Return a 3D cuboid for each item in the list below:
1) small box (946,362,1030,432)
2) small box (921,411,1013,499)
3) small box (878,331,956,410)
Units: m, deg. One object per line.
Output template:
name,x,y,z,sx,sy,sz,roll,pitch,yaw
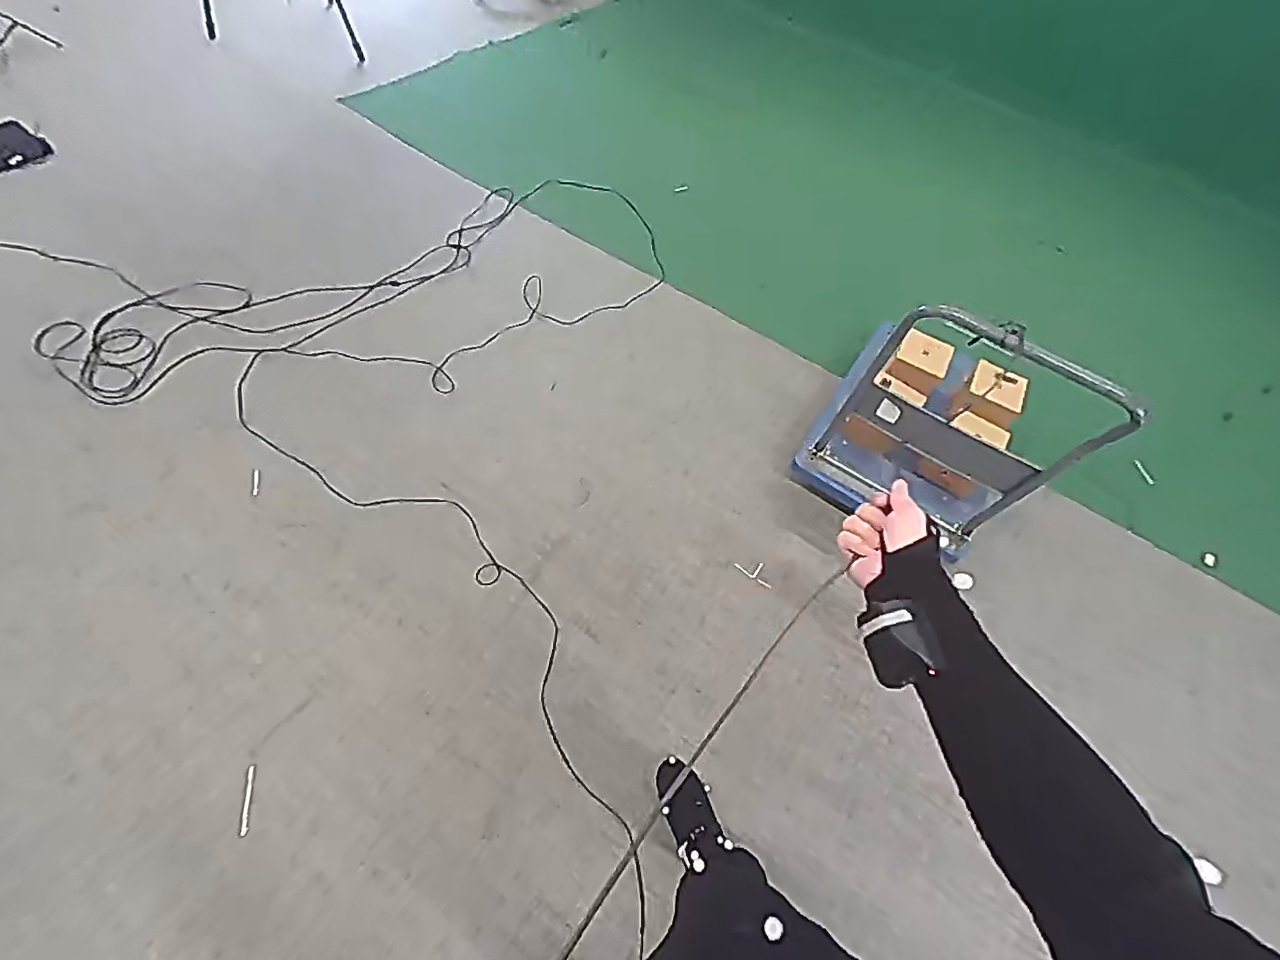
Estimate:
small box,1.173,-0.257,1.831,0.168,0.176,0.179,29,60,12
small box,1.022,-0.076,1.700,0.168,0.176,0.179,33,61,14
small box,0.957,-0.376,1.881,0.168,0.176,0.179,30,59,11
